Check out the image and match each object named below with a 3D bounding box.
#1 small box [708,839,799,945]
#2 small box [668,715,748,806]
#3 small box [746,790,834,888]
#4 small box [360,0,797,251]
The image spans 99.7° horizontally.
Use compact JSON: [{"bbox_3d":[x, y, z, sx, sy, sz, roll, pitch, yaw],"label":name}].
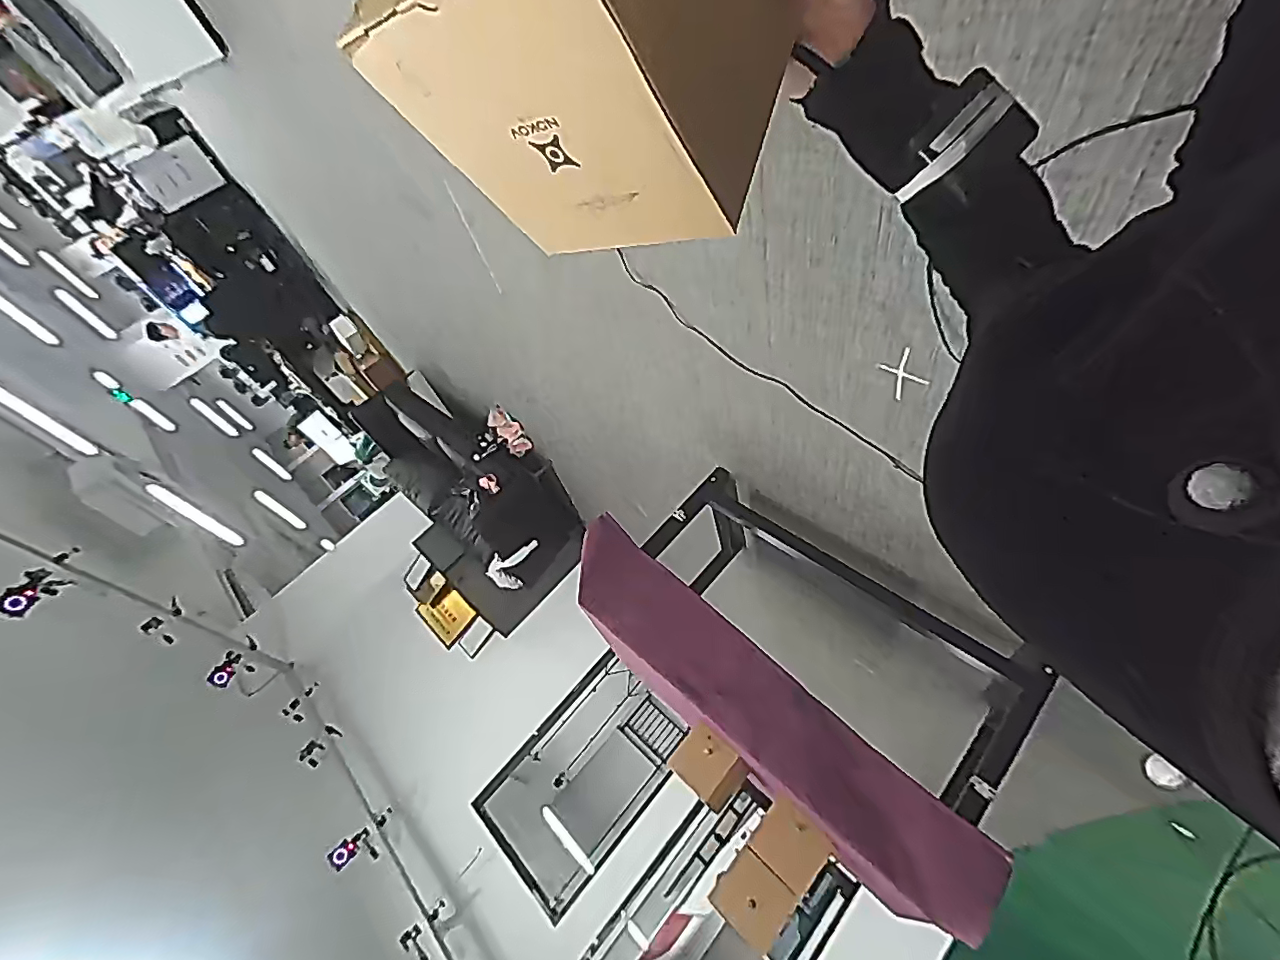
[{"bbox_3d":[0.317,1.128,1.494,0.179,0.176,0.168,31,157,35],"label":"small box"},{"bbox_3d":[0.222,0.889,1.718,0.168,0.176,0.179,28,155,40],"label":"small box"},{"bbox_3d":[0.429,1.018,1.544,0.179,0.176,0.168,32,158,36],"label":"small box"},{"bbox_3d":[-0.021,-0.271,0.329,0.168,0.176,0.179,12,171,34],"label":"small box"}]
